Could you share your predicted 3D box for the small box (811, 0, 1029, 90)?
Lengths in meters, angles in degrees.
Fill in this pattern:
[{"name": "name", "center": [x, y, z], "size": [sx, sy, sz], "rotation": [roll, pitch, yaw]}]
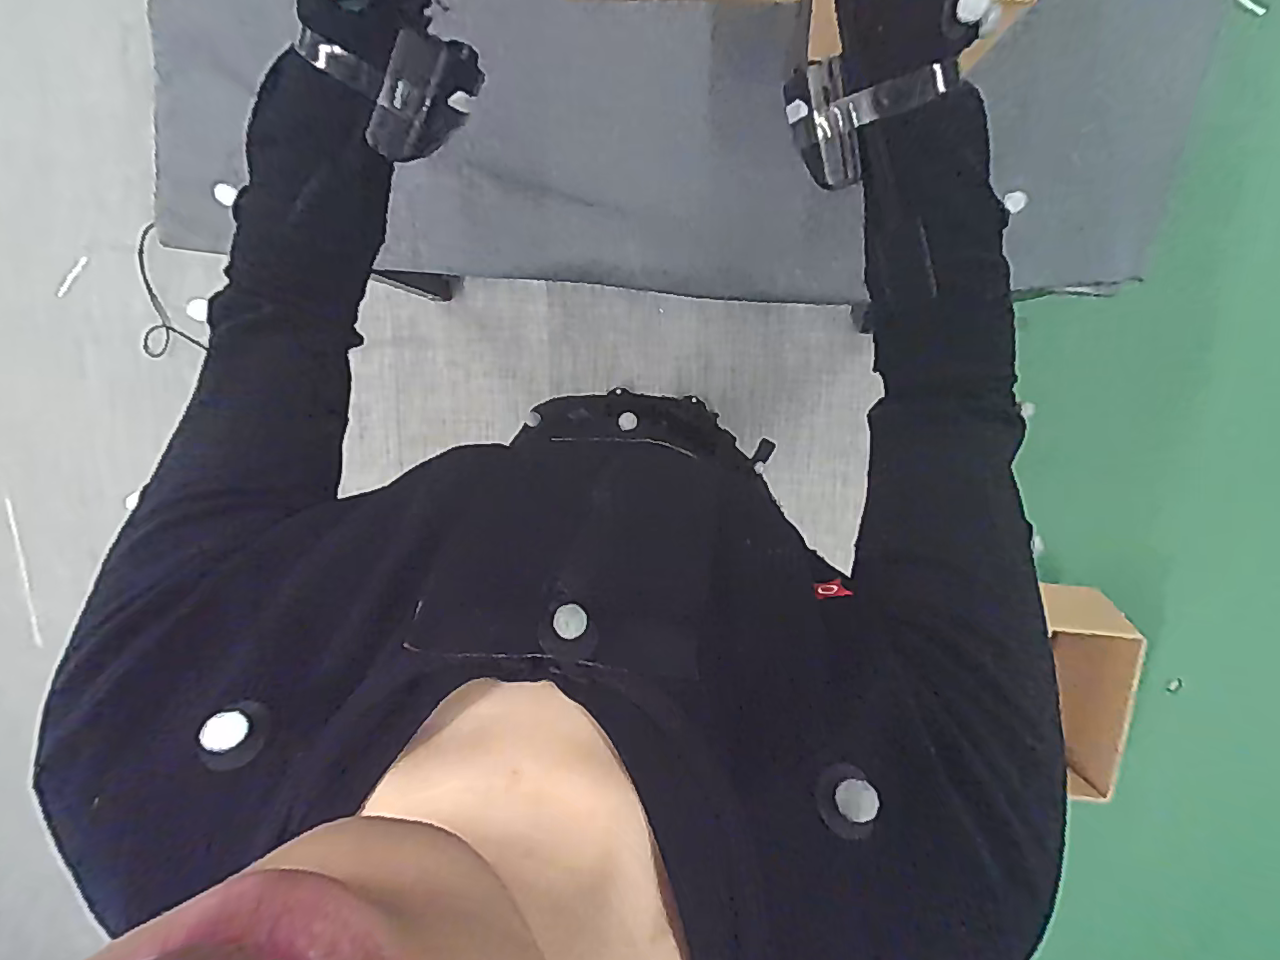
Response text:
[{"name": "small box", "center": [0.277, -0.526, 0.541], "size": [0.168, 0.176, 0.179], "rotation": [3, 100, 3]}]
